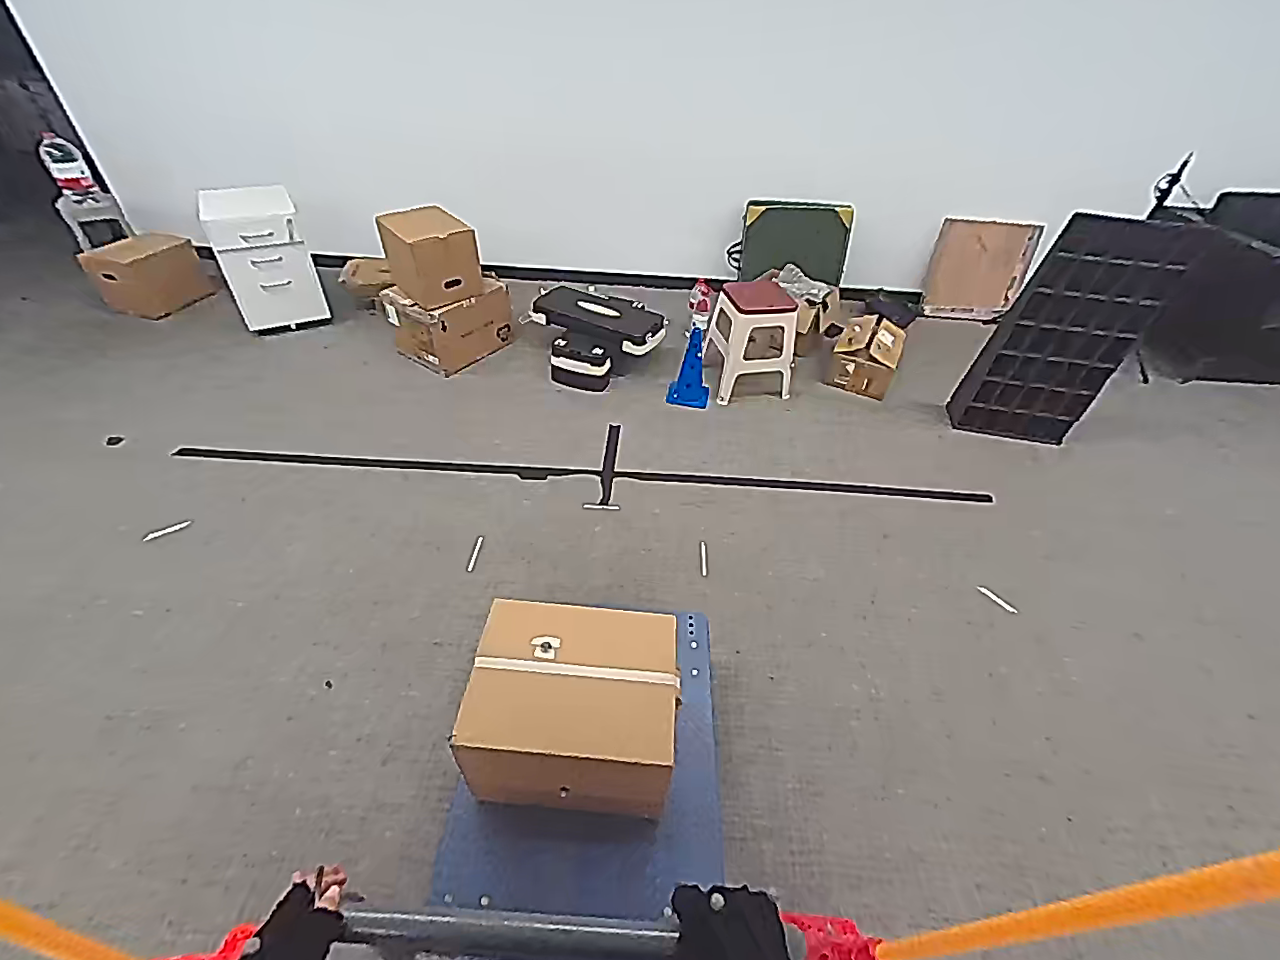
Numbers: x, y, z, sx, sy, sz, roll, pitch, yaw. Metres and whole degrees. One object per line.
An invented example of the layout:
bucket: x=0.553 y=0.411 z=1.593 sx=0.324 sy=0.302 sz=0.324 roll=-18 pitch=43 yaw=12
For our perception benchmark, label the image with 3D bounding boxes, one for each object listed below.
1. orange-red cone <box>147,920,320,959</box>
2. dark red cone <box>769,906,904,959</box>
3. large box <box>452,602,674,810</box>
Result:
orange-red cone: x=-0.751 y=0.869 z=0.939 sx=0.198 sy=0.360 sz=0.199 roll=10 pitch=41 yaw=5
dark red cone: x=0.382 y=0.875 z=0.986 sx=0.201 sy=0.394 sz=0.202 roll=5 pitch=42 yaw=-1
large box: x=-0.136 y=0.493 z=1.179 sx=0.408 sy=0.320 sz=0.320 roll=5 pitch=42 yaw=2
